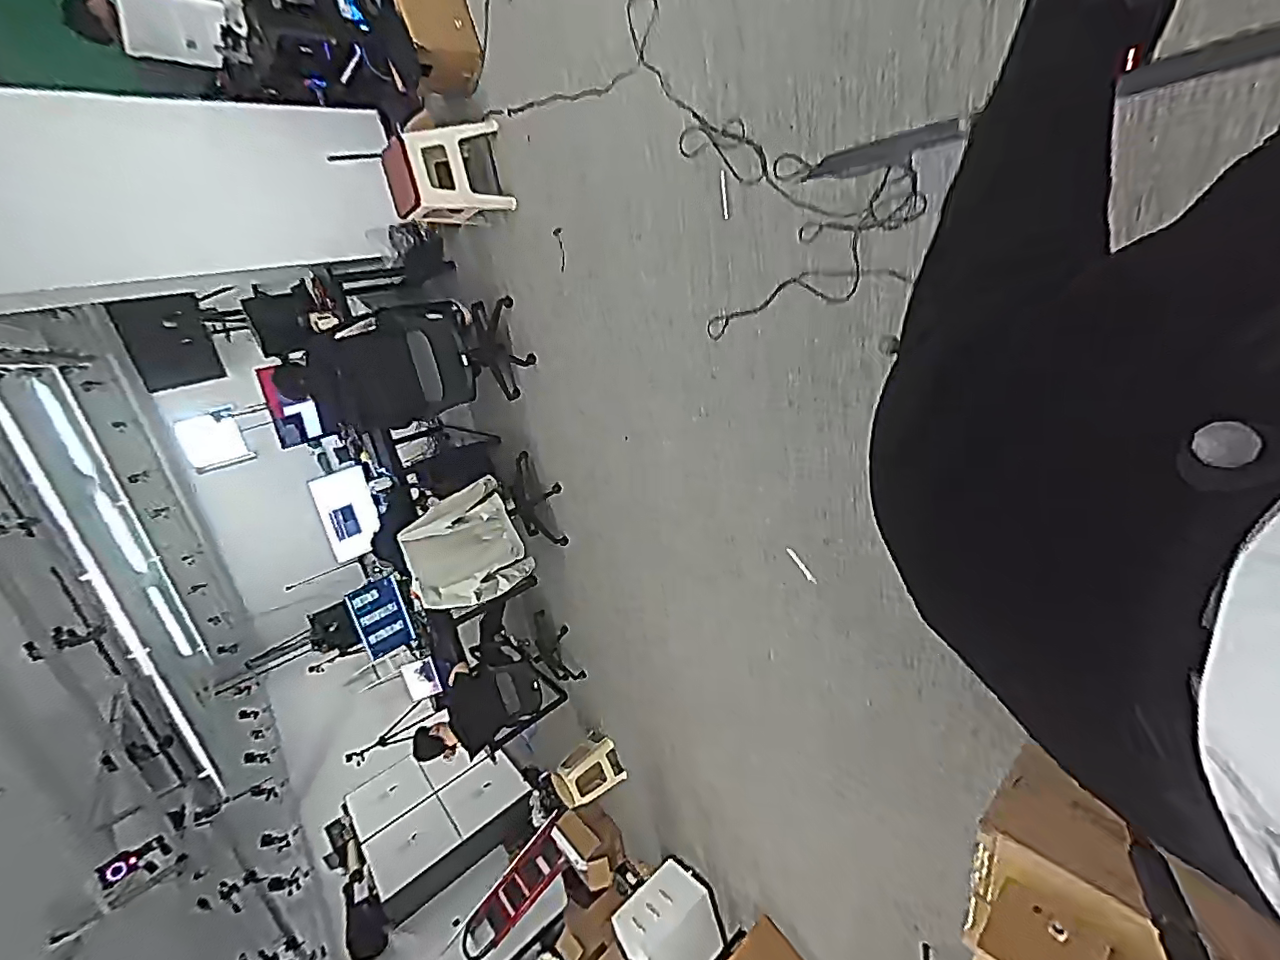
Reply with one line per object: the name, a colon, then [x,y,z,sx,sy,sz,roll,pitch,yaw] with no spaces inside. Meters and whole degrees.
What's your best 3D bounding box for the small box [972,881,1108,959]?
small box: [0.724,0.903,0.987,0.168,0.176,0.179,15,119,46]
